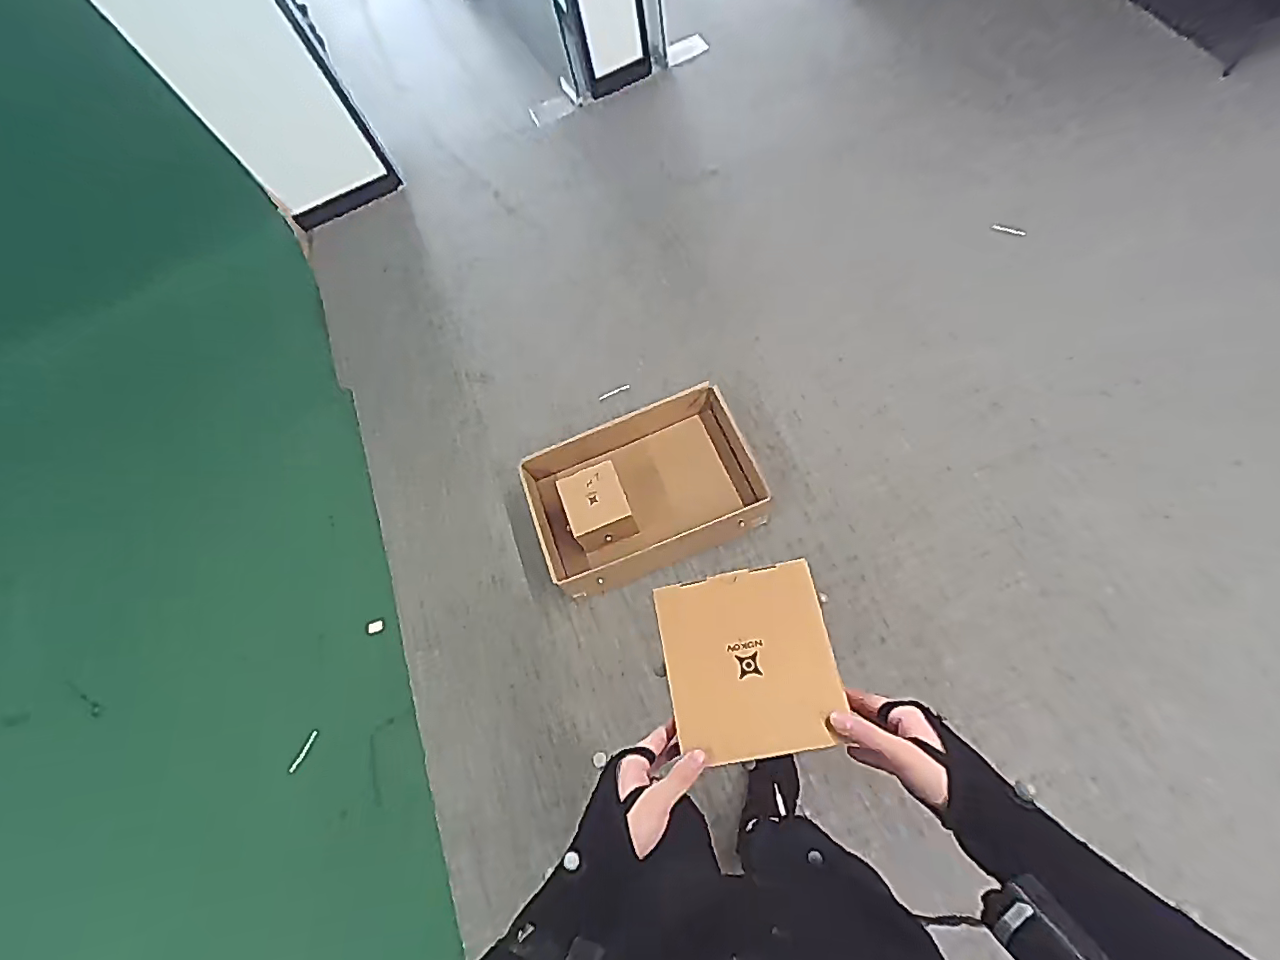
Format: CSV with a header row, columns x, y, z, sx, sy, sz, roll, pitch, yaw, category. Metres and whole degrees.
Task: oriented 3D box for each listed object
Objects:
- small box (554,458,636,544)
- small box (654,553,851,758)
x,y,z,sx,sy,sz,roll,pitch,yaw,category
-0.121,0.069,1.526,0.168,0.176,0.179,-22,67,-1,small box
0.122,0.201,0.619,0.168,0.176,0.179,-13,67,5,small box
